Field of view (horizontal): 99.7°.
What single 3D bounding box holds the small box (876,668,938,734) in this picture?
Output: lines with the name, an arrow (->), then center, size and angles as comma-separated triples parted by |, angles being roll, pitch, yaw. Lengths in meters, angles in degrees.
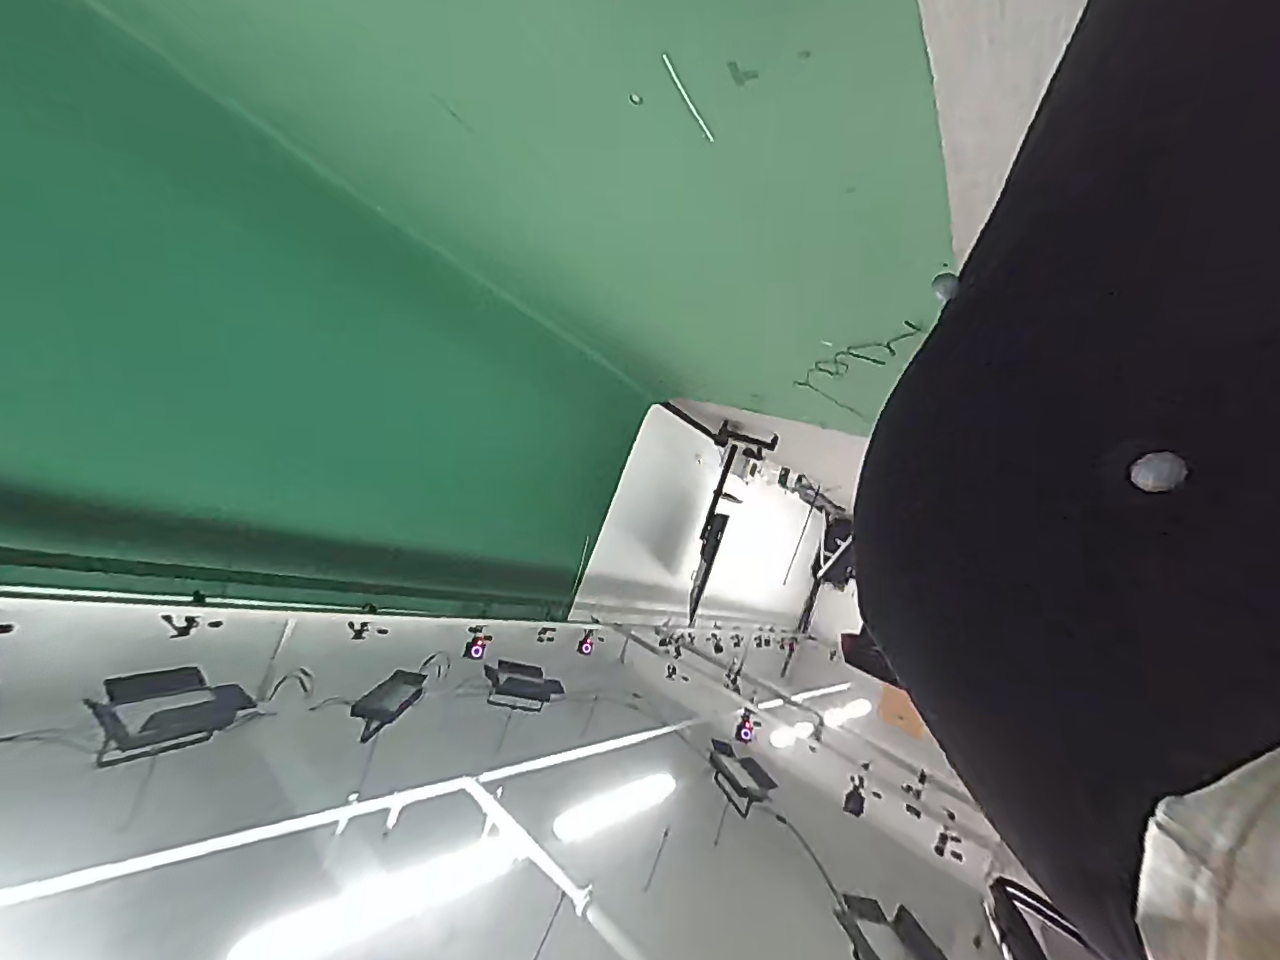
small box -> 1.056, 0.861, 2.125 | 0.179, 0.176, 0.168 | 19, 178, 34
